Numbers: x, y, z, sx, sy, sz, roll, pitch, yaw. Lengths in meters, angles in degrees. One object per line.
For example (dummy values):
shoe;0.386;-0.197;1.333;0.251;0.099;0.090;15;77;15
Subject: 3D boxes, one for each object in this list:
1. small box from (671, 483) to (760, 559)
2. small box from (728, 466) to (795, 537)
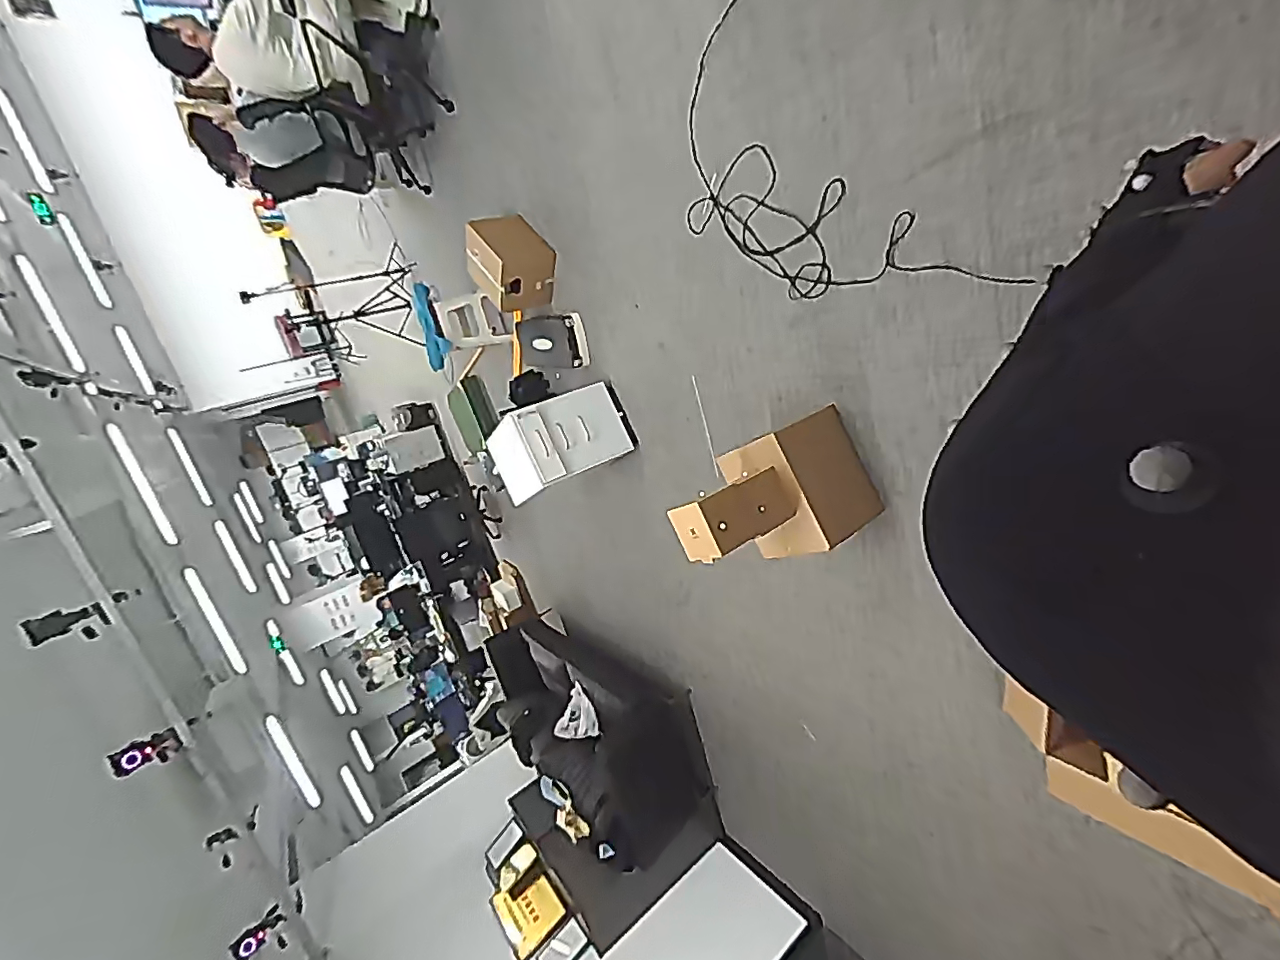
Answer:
small box;0.231;0.121;1.646;0.168;0.176;0.179;-24;91;58
small box;0.363;0.075;1.730;0.168;0.176;0.179;-25;90;59
